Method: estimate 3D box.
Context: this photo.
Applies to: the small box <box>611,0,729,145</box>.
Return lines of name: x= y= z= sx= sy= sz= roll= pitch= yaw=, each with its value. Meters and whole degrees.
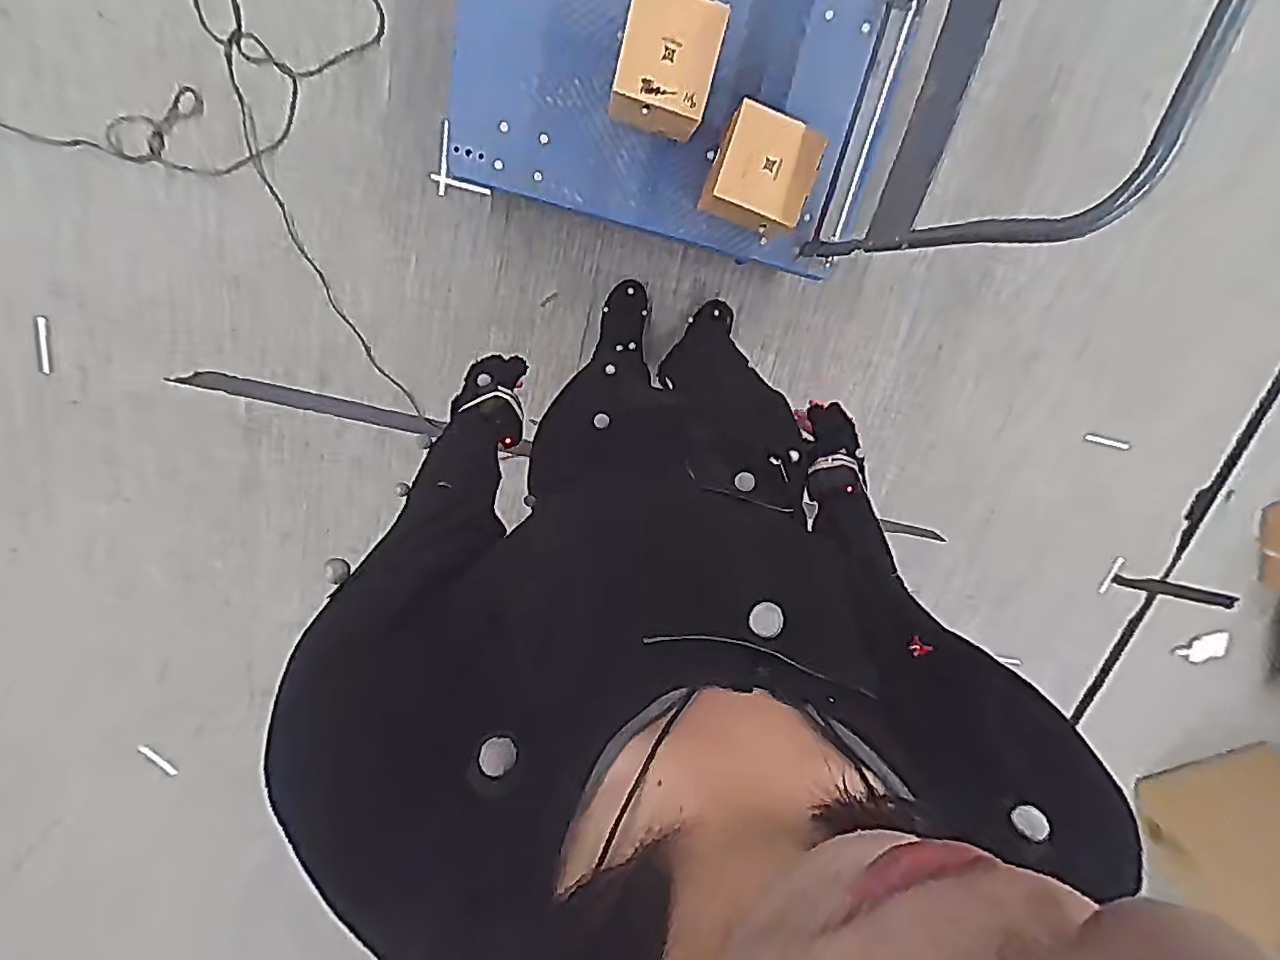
small box: x=0.044 y=-0.760 z=1.000 sx=0.168 sy=0.176 sz=0.179 roll=14 pitch=107 yaw=-9

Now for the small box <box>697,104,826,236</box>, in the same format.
small box: x=0.231 y=-0.602 z=1.076 sx=0.179 sy=0.176 sz=0.168 roll=17 pitch=105 yaw=-9
